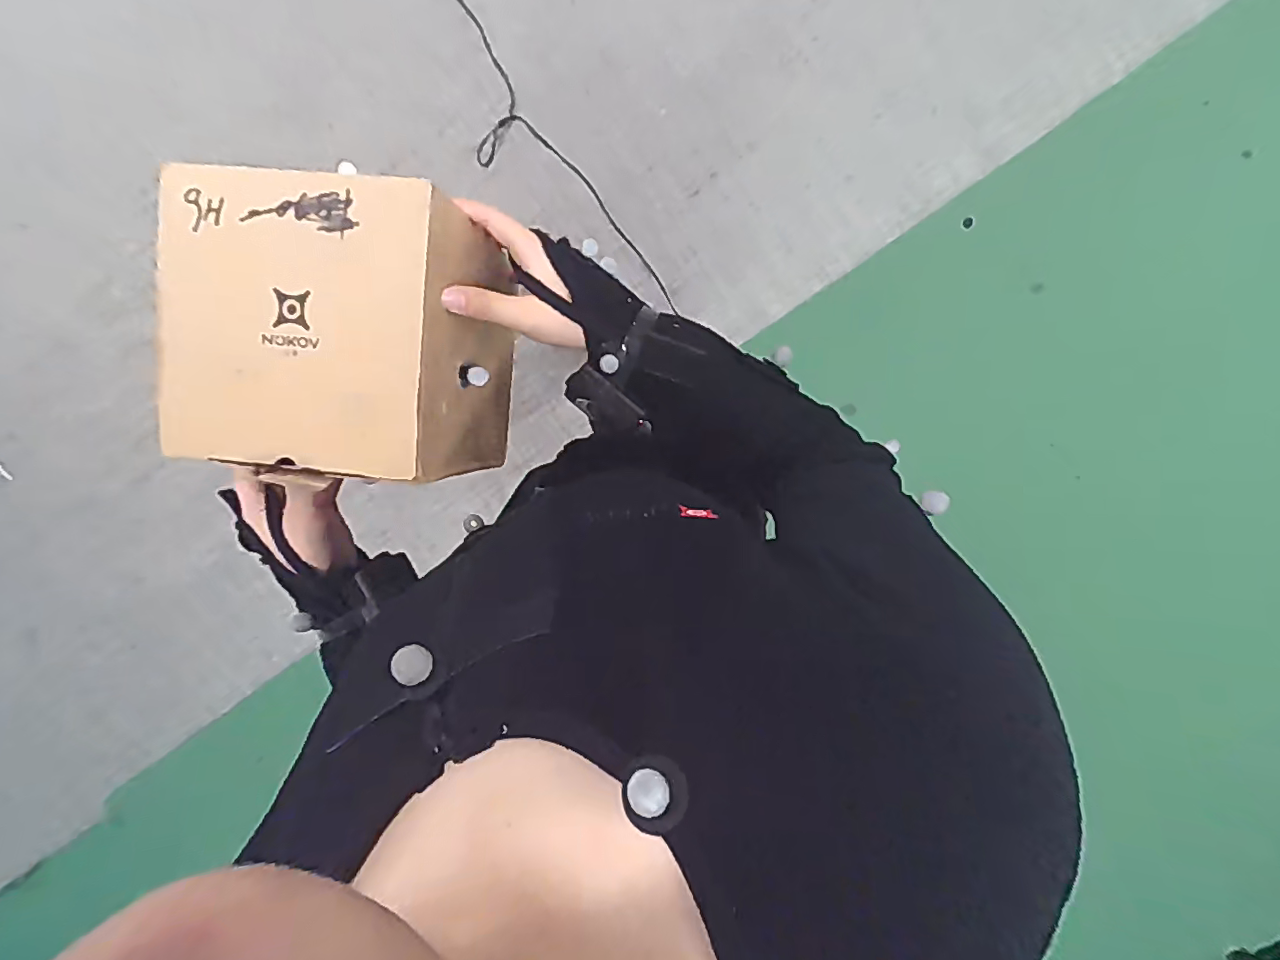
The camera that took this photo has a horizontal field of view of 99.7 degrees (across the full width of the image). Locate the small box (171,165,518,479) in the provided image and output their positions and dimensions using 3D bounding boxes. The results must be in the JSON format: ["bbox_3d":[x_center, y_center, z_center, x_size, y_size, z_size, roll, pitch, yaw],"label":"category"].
[{"bbox_3d":[-0.198,-0.104,0.406,0.168,0.176,0.179,6,97,3],"label":"small box"}]
